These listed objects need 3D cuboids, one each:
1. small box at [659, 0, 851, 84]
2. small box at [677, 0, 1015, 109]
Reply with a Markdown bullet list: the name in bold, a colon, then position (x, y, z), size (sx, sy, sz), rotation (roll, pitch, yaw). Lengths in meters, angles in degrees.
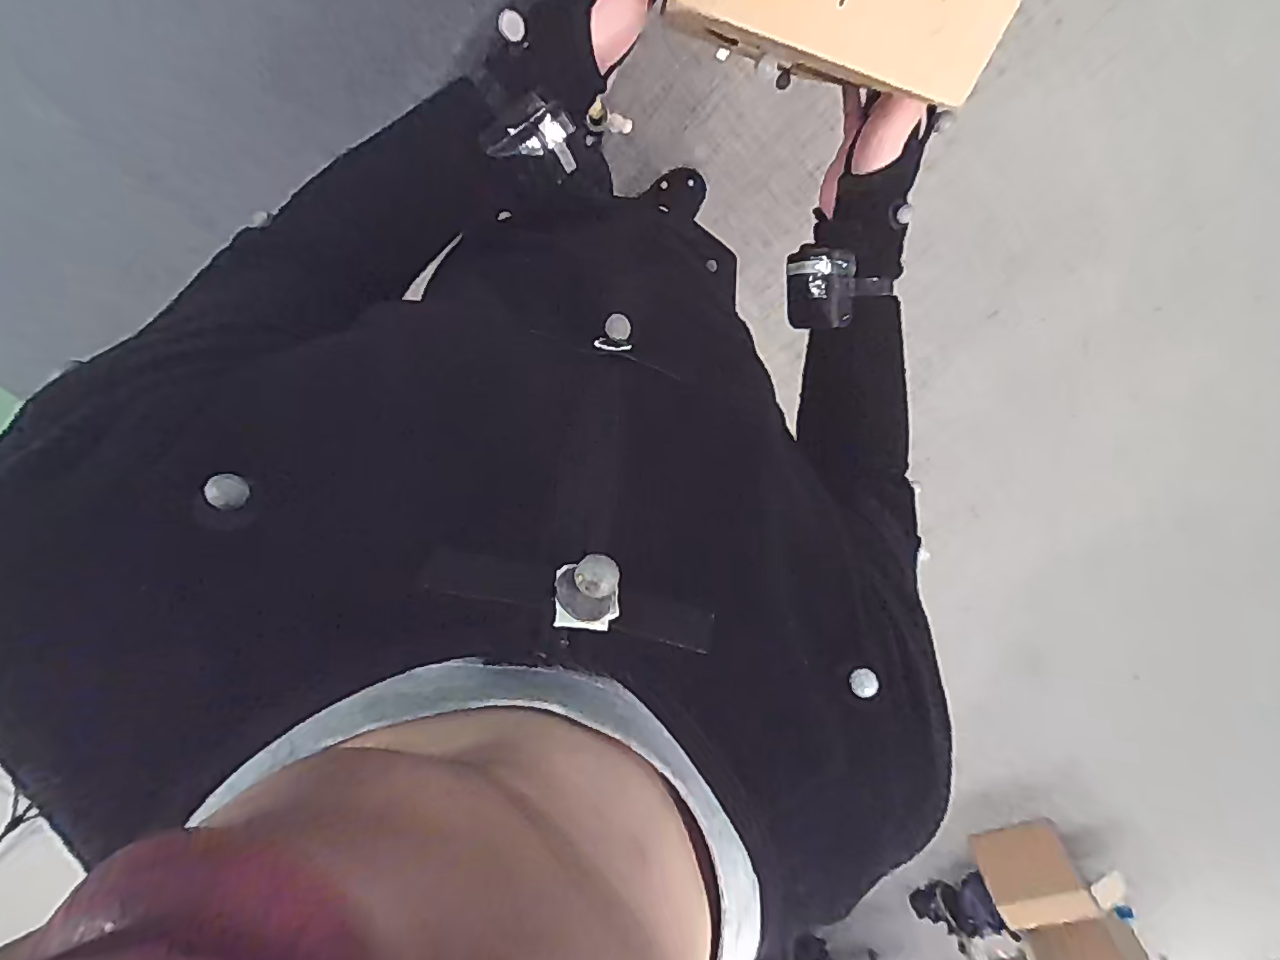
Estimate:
- **small box**: position (0.116, -0.442, 0.420), size (0.168, 0.176, 0.179), rotation (11, 128, -11)
- **small box**: position (0.119, -0.338, 0.292), size (0.168, 0.176, 0.179), rotation (12, 130, -11)
